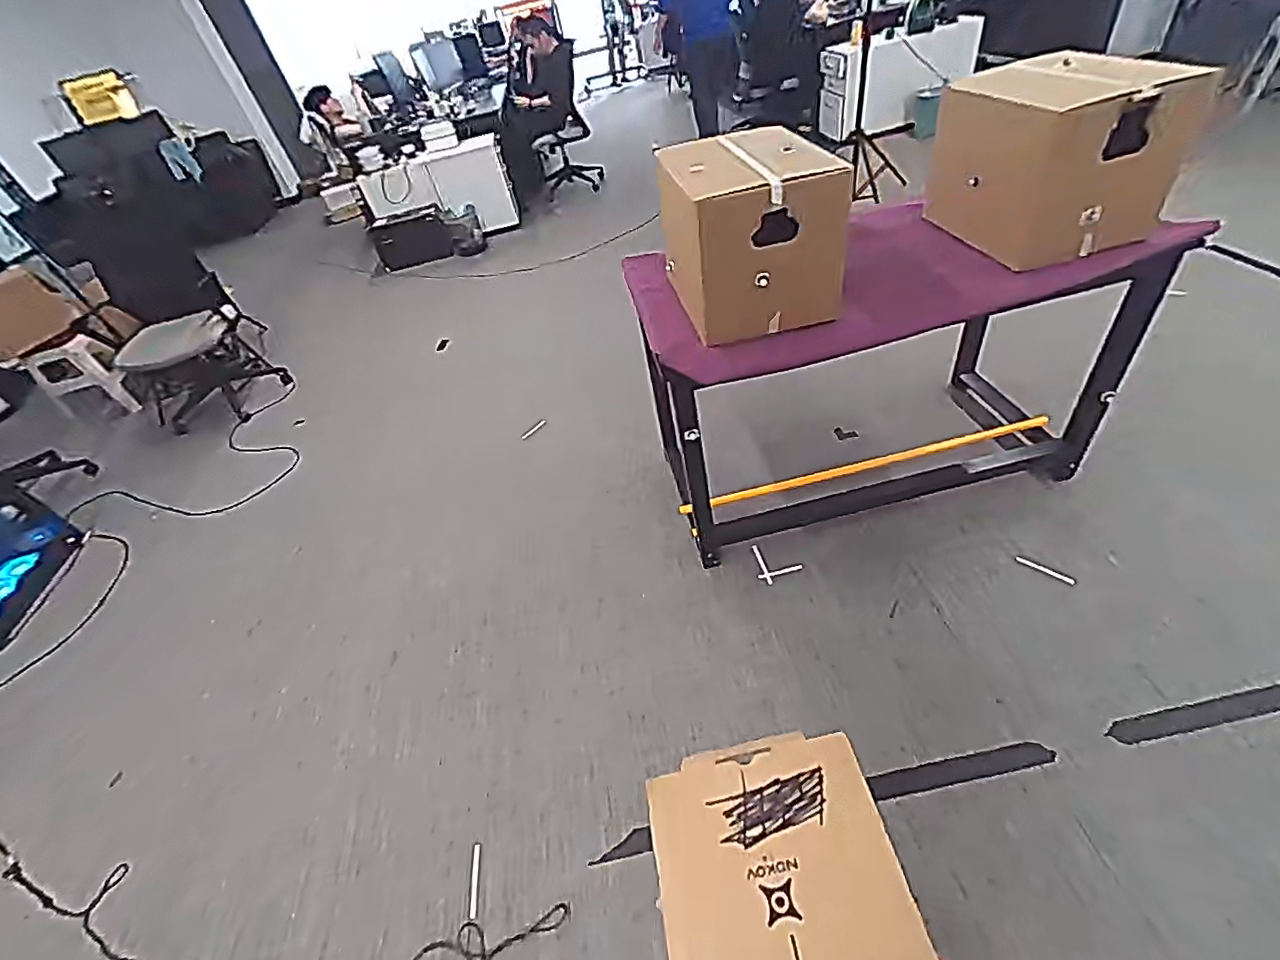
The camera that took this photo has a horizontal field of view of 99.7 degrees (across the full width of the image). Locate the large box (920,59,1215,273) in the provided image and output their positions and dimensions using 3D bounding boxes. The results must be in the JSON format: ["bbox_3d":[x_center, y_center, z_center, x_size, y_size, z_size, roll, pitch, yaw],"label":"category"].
[{"bbox_3d":[0.914,-0.725,1.240,0.320,0.320,0.408,-14,42,0],"label":"large box"}]

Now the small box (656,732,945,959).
[{"bbox_3d":[0.119,0.332,0.421,0.168,0.176,0.179,-16,41,5],"label":"small box"}]
